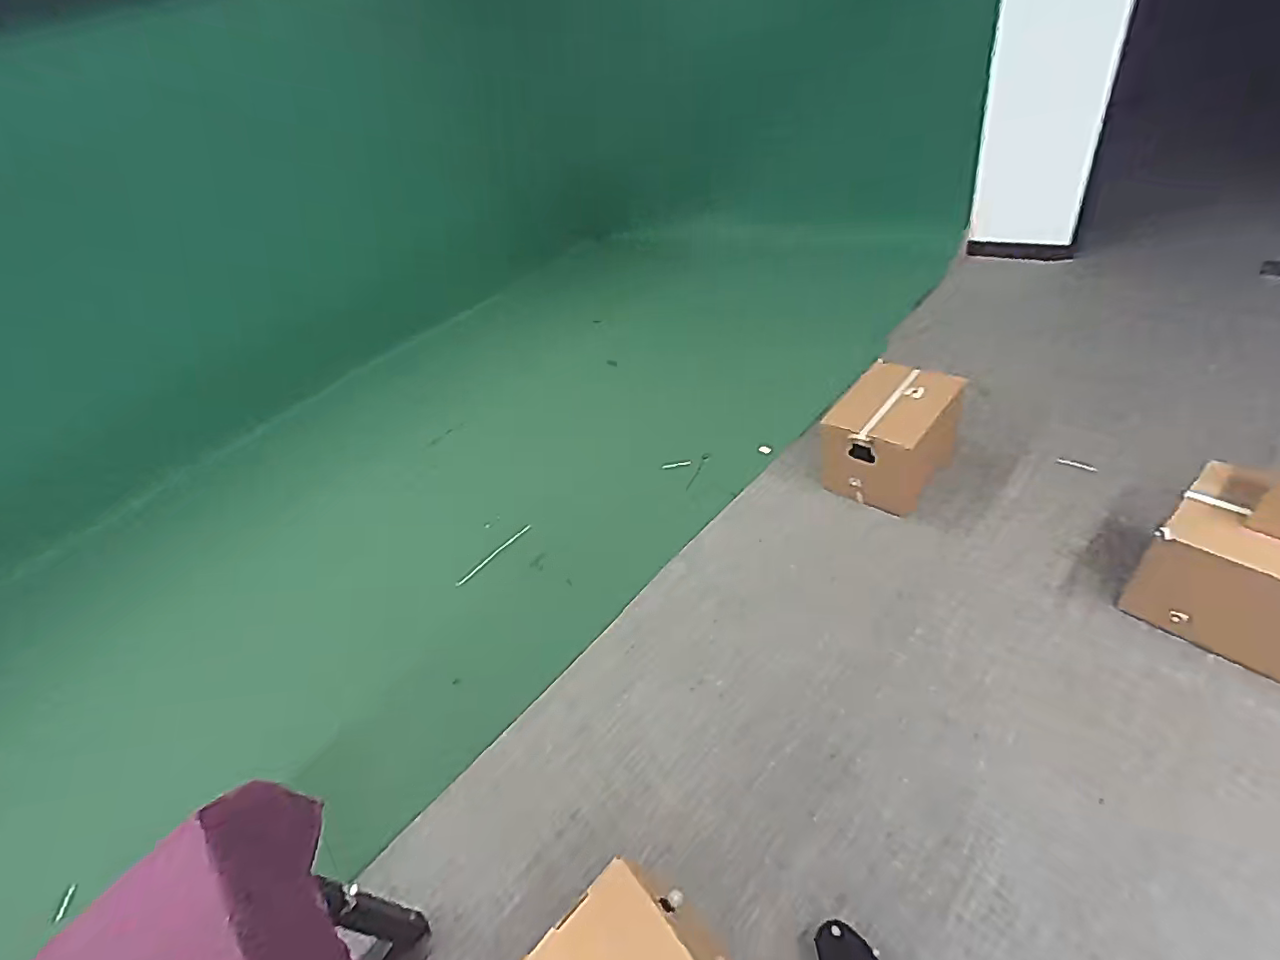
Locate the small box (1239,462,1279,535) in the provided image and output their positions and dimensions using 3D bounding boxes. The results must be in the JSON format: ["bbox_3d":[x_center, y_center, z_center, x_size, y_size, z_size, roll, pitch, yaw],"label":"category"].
[{"bbox_3d":[1.426,0.029,1.119,0.168,0.176,0.179,-33,42,-19],"label":"small box"}]

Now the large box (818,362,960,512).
[{"bbox_3d":[0.874,-0.160,1.910,0.320,0.320,0.408,26,57,40],"label":"large box"}]
